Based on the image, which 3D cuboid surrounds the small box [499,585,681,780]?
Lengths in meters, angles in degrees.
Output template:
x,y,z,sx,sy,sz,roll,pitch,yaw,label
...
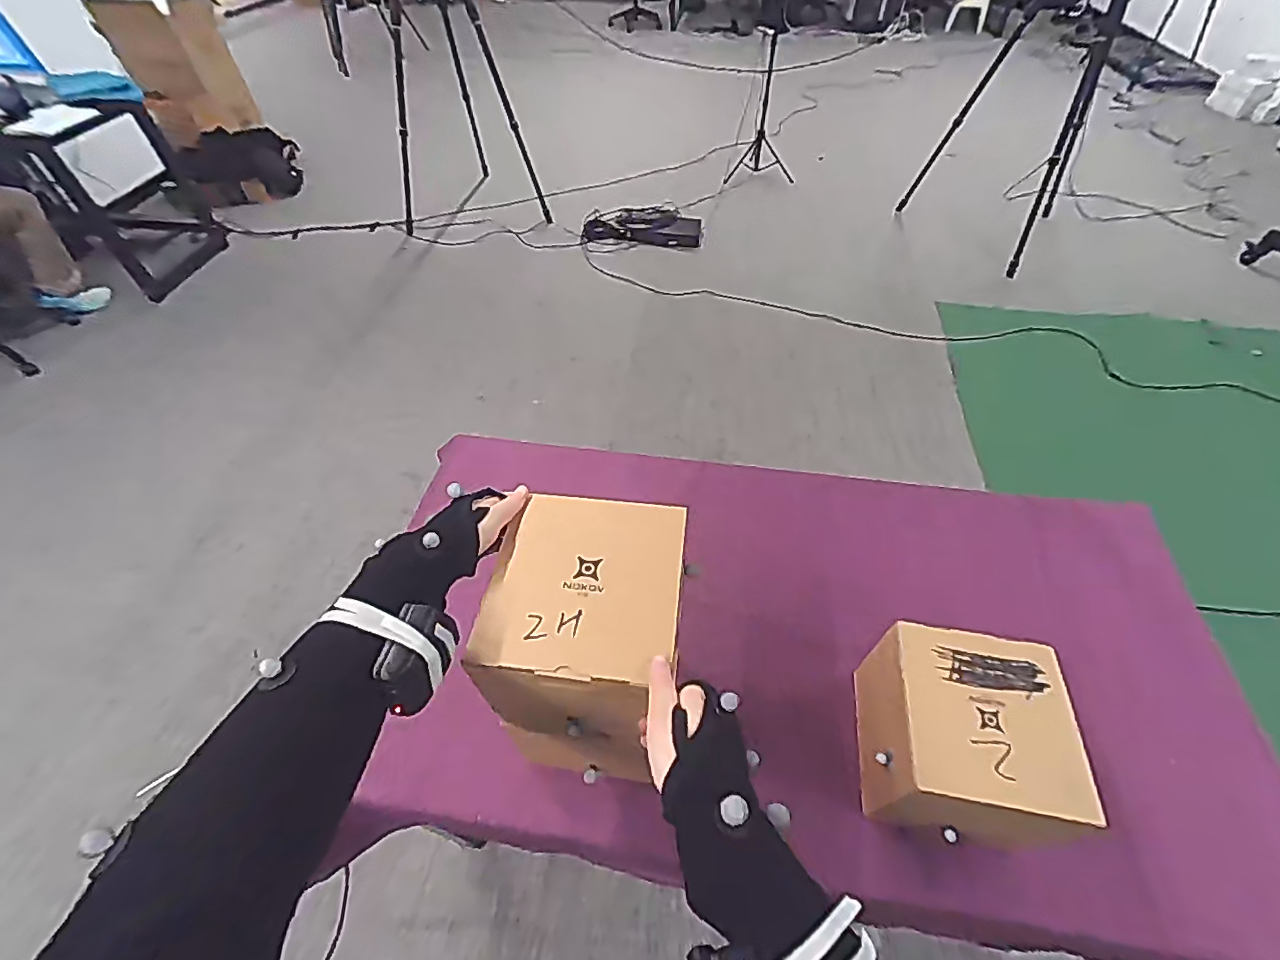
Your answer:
x,y,z,sx,sy,sz,roll,pitch,yaw,label
-0.049,0.249,0.655,0.179,0.176,0.168,6,50,4,small box
